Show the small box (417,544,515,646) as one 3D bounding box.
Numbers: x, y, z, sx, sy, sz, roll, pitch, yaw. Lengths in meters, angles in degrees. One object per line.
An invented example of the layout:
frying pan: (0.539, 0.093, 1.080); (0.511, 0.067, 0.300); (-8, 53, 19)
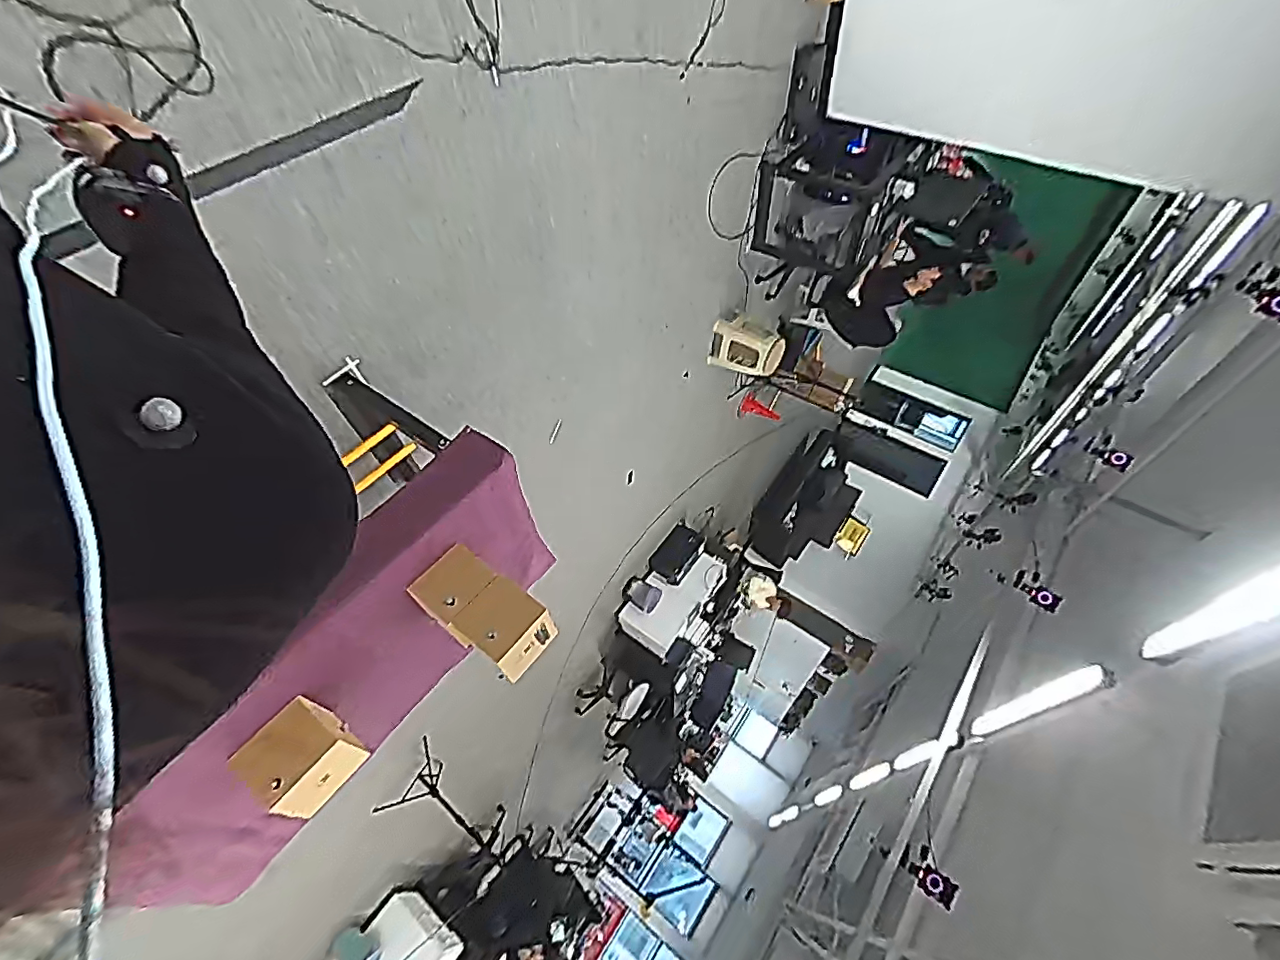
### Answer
small box: (-0.474, 0.308, 1.463); (0.179, 0.176, 0.168); (-47, 154, -27)

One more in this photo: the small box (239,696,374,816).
small box: (-0.771, 0.637, 1.256); (0.179, 0.176, 0.168); (-47, 154, -27)
